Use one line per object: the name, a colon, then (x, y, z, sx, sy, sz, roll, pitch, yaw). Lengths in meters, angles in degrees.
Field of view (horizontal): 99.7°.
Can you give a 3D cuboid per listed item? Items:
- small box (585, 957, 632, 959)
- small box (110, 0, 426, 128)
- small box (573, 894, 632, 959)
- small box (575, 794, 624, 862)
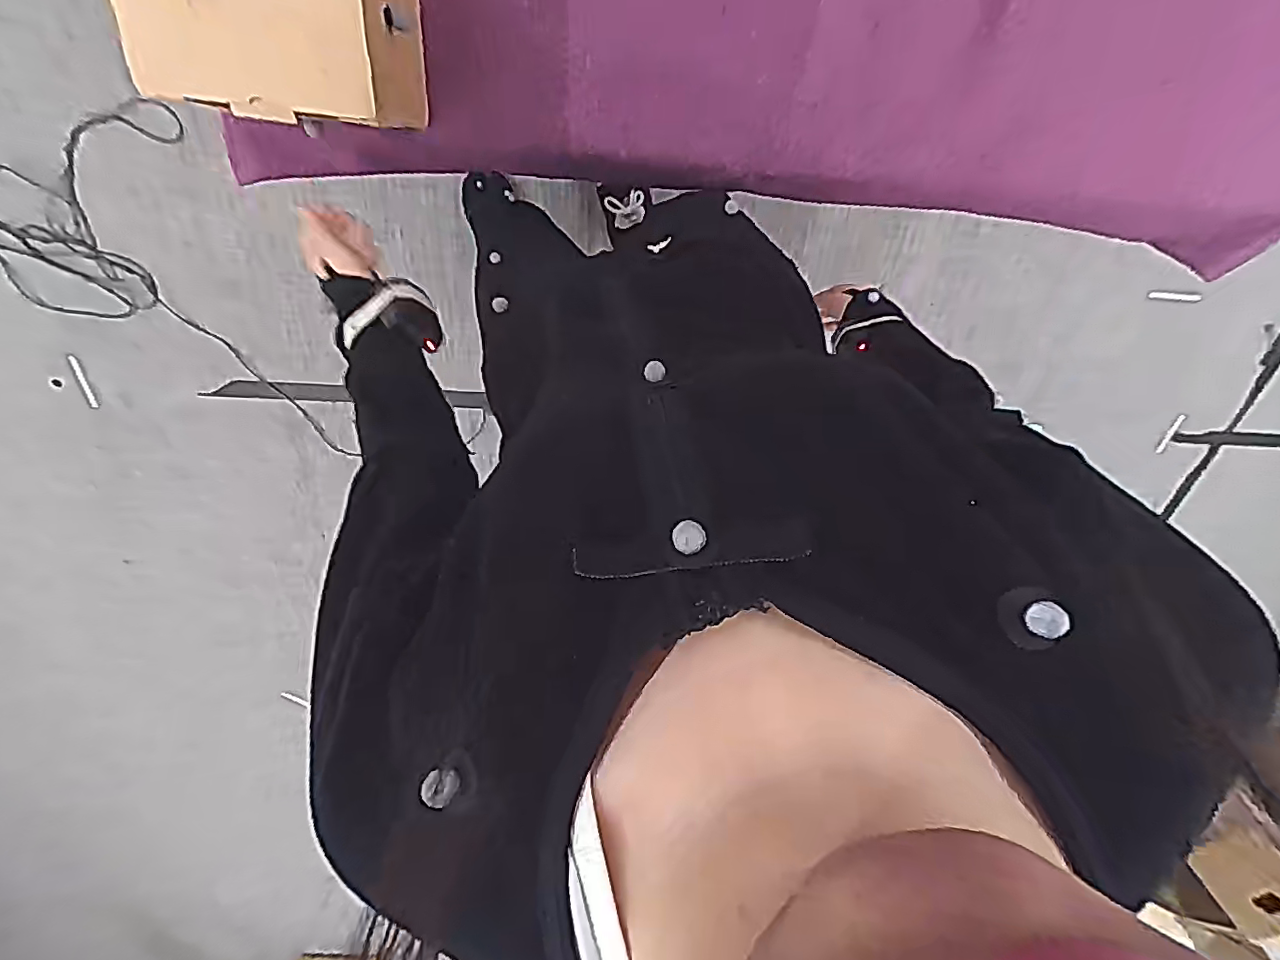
small box: (-0.114, 1.577, 1.634, 0.179, 0.176, 0.168, 4, 121, -9)
small box: (-0.276, -0.389, 0.421, 0.168, 0.176, 0.179, 2, 123, -8)
small box: (-0.128, 1.489, 1.769, 0.179, 0.176, 0.168, 4, 122, -8)
small box: (-0.157, 1.310, 2.043, 0.179, 0.176, 0.168, 1, 121, -5)
